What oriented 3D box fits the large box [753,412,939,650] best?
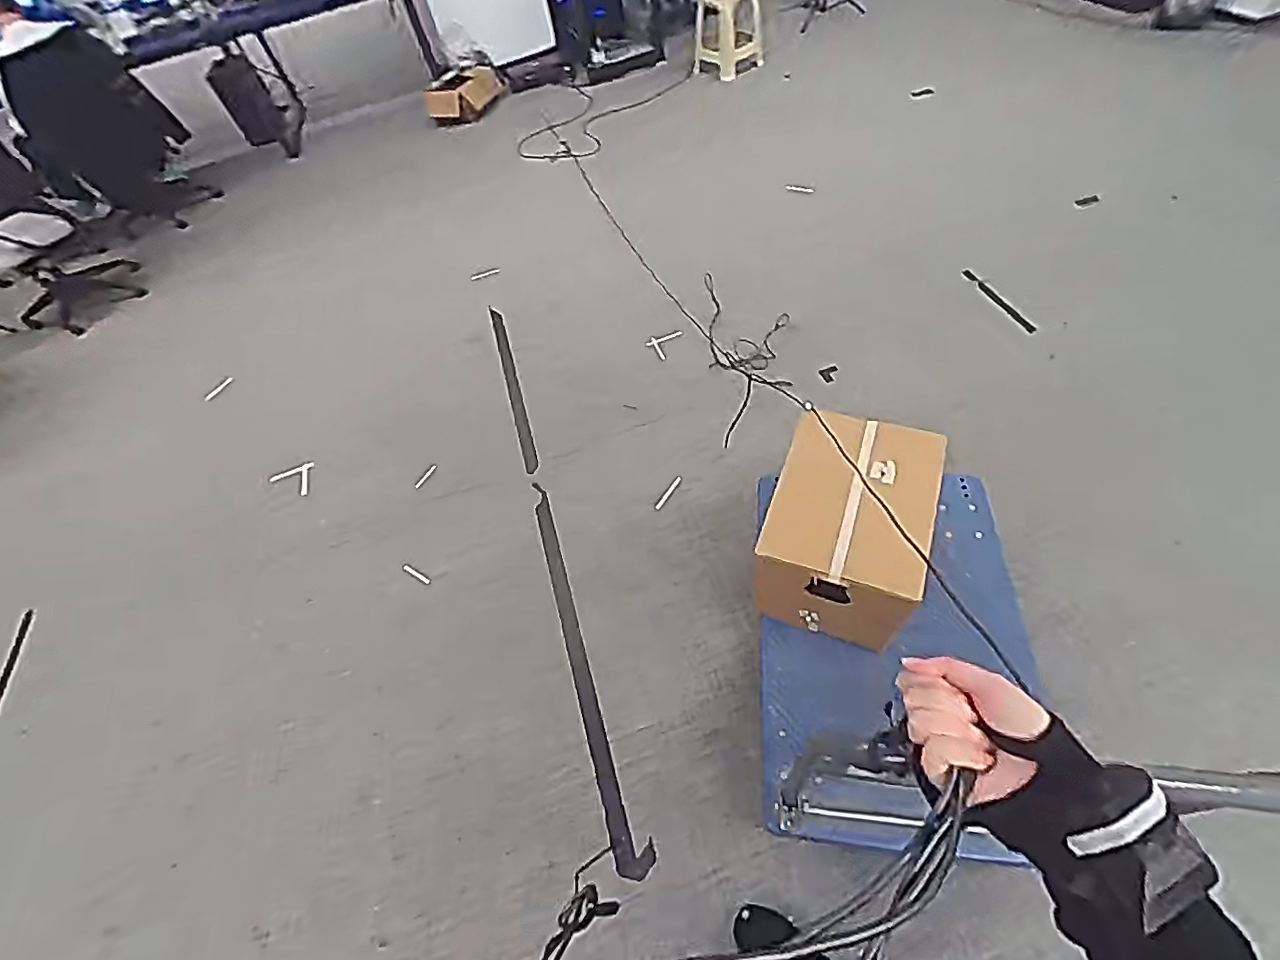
[{"bbox_3d":[0.458,0.115,1.243,0.320,0.320,0.408,15,59,19],"label":"large box"}]
